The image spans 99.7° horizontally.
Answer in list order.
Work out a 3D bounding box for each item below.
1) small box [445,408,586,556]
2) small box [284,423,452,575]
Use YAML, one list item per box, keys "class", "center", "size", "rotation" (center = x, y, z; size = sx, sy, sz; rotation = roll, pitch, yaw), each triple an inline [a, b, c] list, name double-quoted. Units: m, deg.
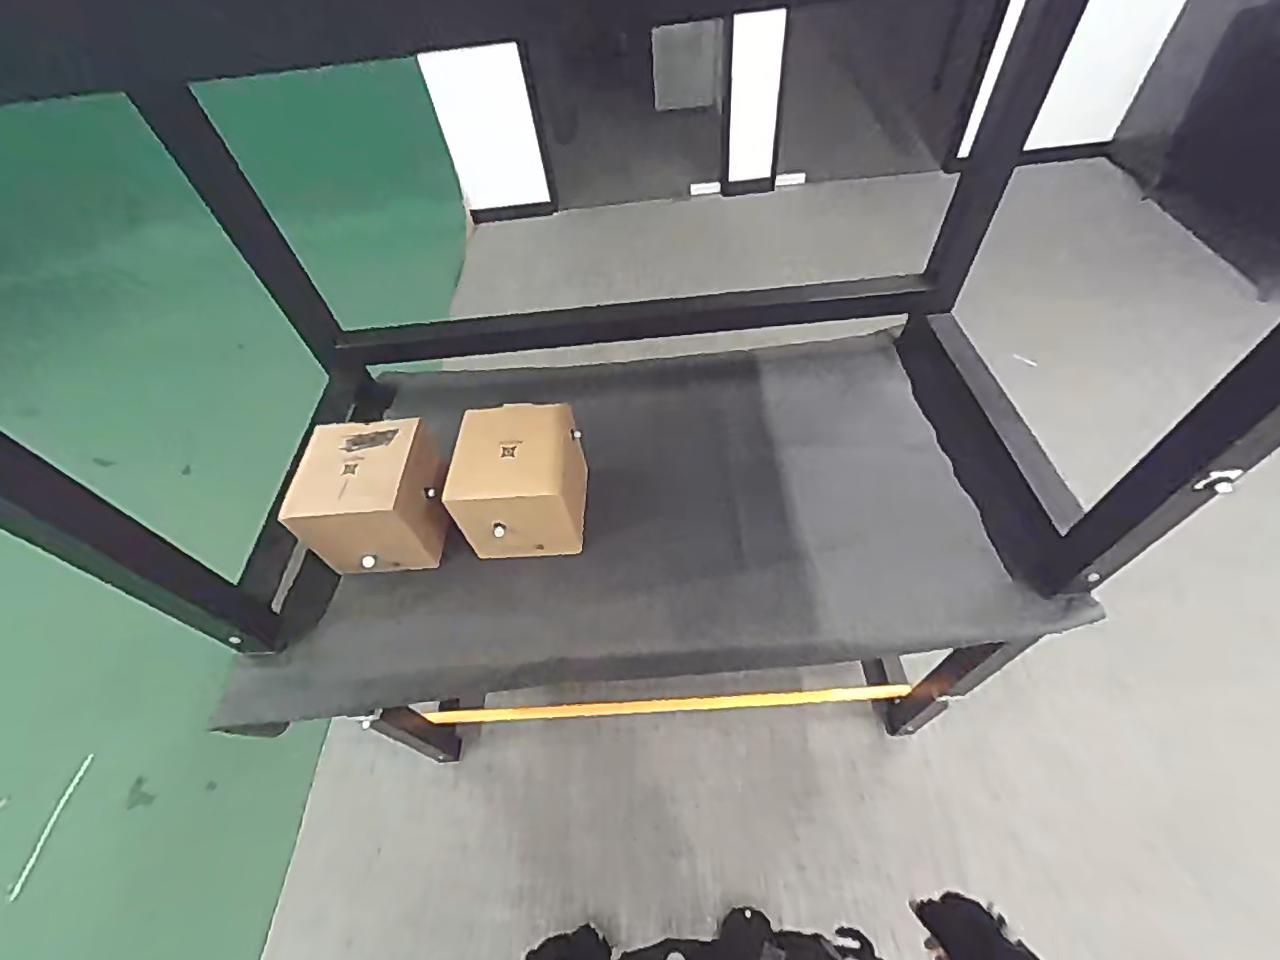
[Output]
- class: "small box"
  center: [-0.182, 0.011, 0.853]
  size: [0.168, 0.176, 0.179]
  rotation: [-3, 52, 3]
- class: "small box"
  center: [-0.408, 0.032, 0.857]
  size: [0.168, 0.176, 0.179]
  rotation: [-4, 52, 3]
